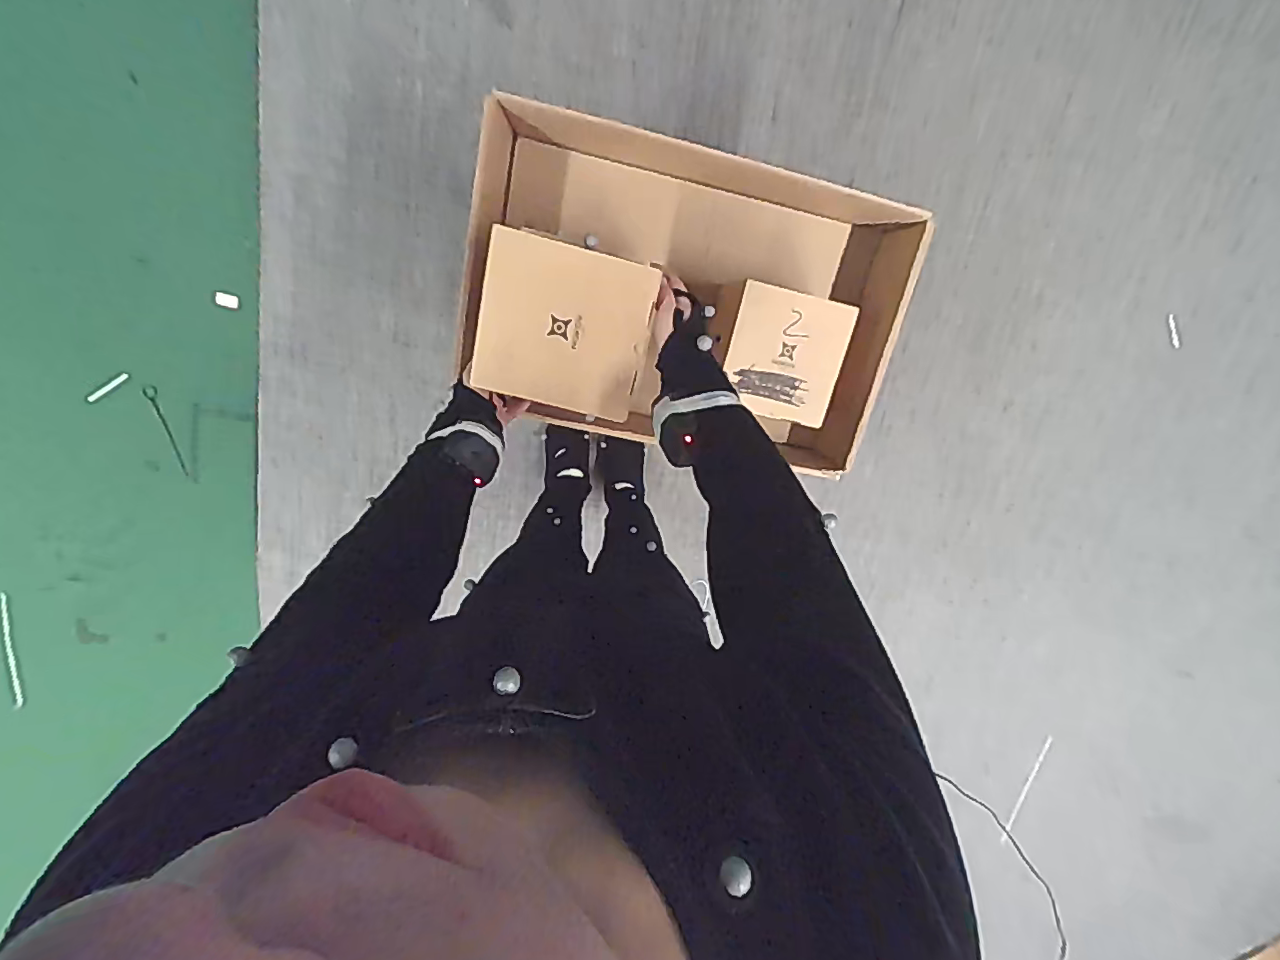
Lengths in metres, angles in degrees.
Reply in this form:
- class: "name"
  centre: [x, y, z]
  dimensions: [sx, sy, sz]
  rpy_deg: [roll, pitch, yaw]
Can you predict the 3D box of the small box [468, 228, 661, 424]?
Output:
- class: "small box"
  centre: [-0.087, -0.180, 0.639]
  dimensions: [0.179, 0.176, 0.168]
  rpy_deg: [12, 109, -9]
